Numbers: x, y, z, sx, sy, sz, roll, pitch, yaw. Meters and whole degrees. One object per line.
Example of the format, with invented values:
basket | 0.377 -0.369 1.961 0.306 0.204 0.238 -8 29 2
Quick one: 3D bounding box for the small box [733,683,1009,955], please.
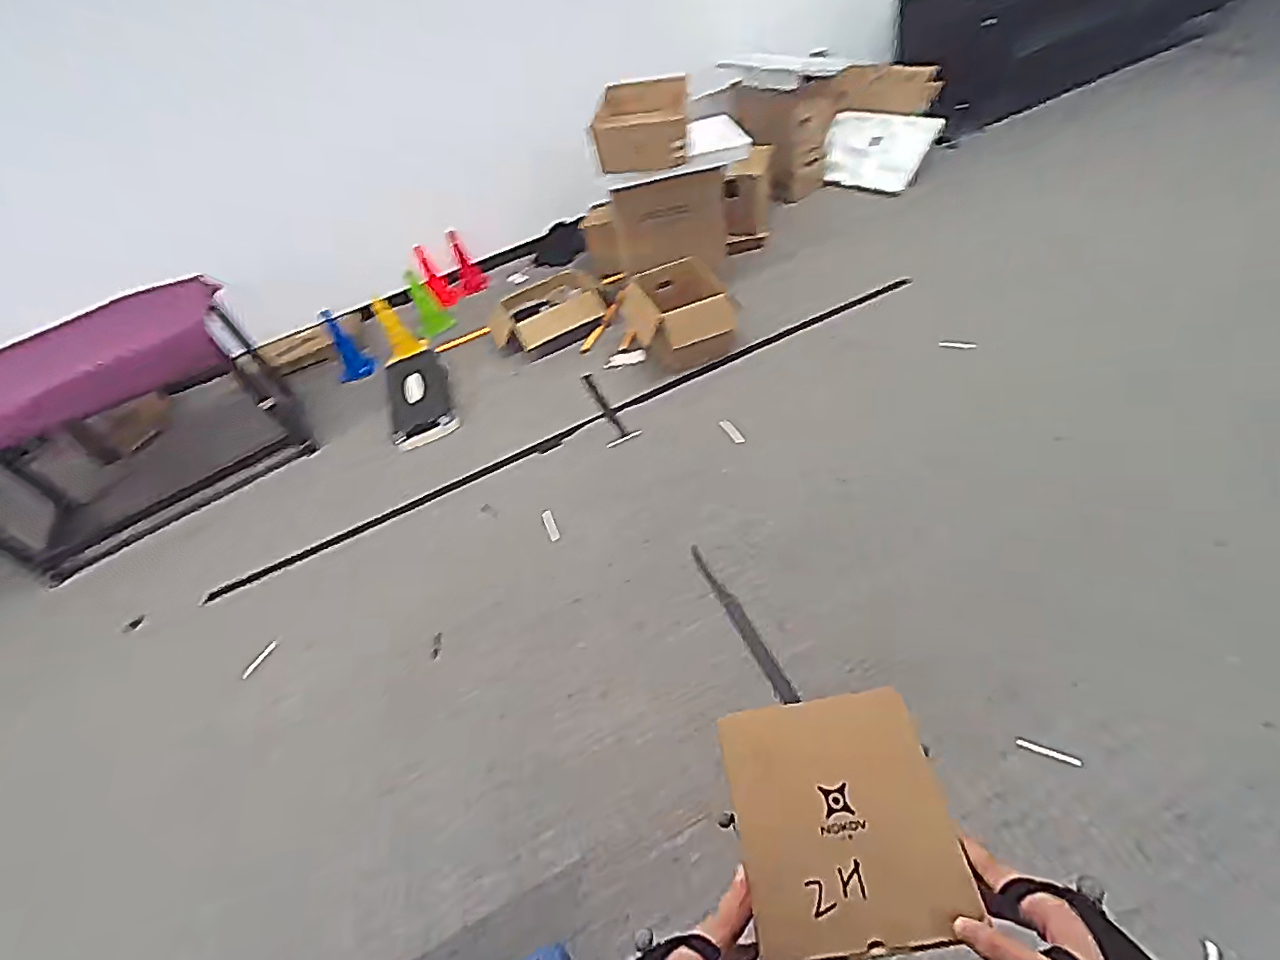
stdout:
small box | 0.180 0.306 0.490 0.168 0.176 0.179 -10 51 4
